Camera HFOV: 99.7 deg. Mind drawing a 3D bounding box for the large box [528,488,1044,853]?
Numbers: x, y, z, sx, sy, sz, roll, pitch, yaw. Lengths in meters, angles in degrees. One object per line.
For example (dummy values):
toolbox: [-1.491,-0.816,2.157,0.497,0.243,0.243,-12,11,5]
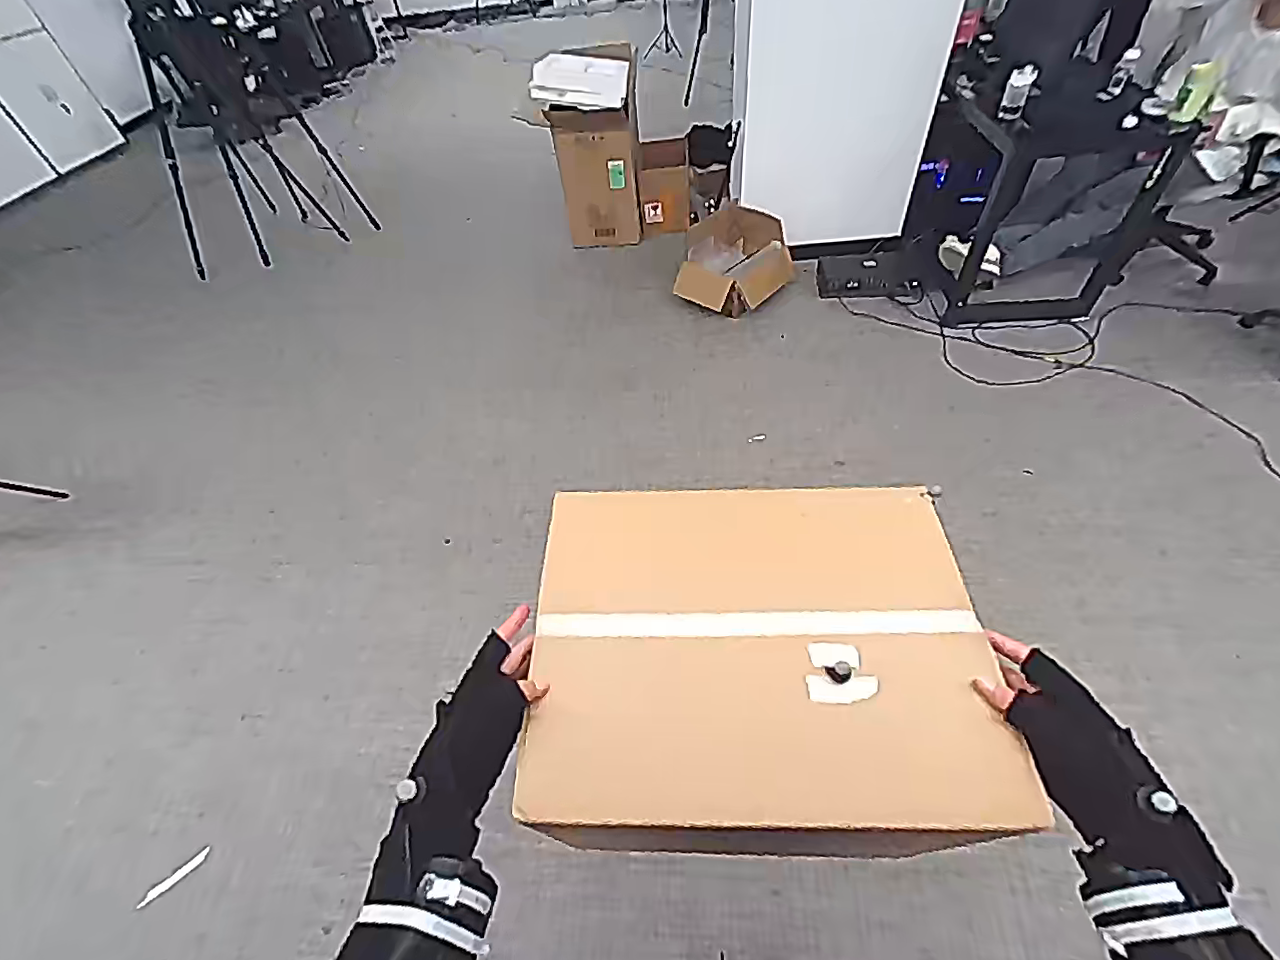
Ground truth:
large box: [0.113,0.226,0.619,0.408,0.320,0.320,-1,52,2]
